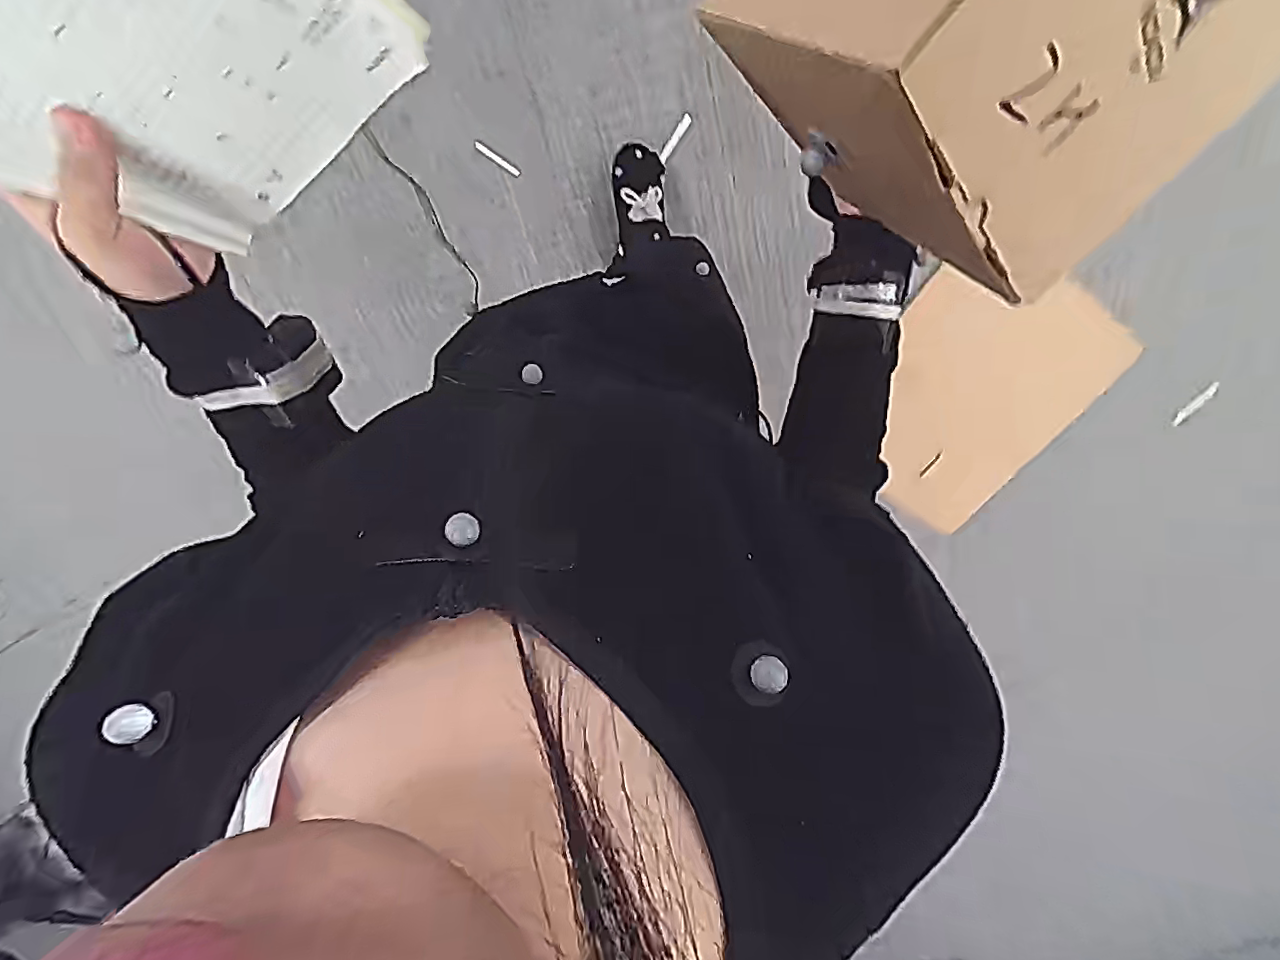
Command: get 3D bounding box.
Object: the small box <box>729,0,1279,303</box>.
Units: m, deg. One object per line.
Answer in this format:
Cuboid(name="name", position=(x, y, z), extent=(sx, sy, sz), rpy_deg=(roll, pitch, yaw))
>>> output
Cuboid(name="small box", position=(0.173, -0.225, 0.244), extent=(0.168, 0.176, 0.179), rpy_deg=(21, 121, -40))
